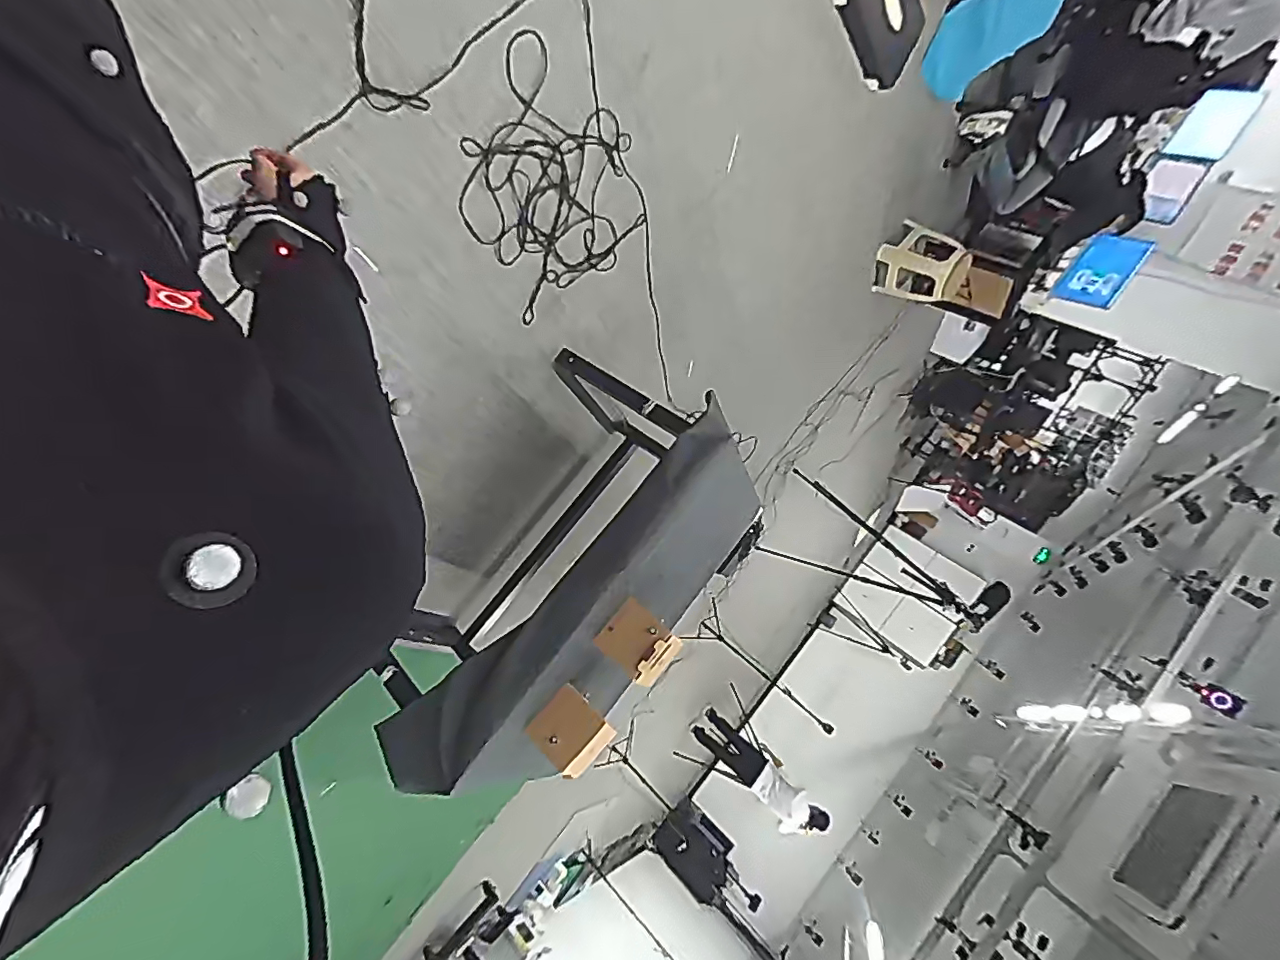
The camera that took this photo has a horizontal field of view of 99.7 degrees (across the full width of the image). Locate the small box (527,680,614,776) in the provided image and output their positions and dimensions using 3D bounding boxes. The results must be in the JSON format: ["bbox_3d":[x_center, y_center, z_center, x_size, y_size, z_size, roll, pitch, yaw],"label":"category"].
[{"bbox_3d":[-0.206,0.720,1.572,0.179,0.176,0.168,-45,151,-18],"label":"small box"}]
